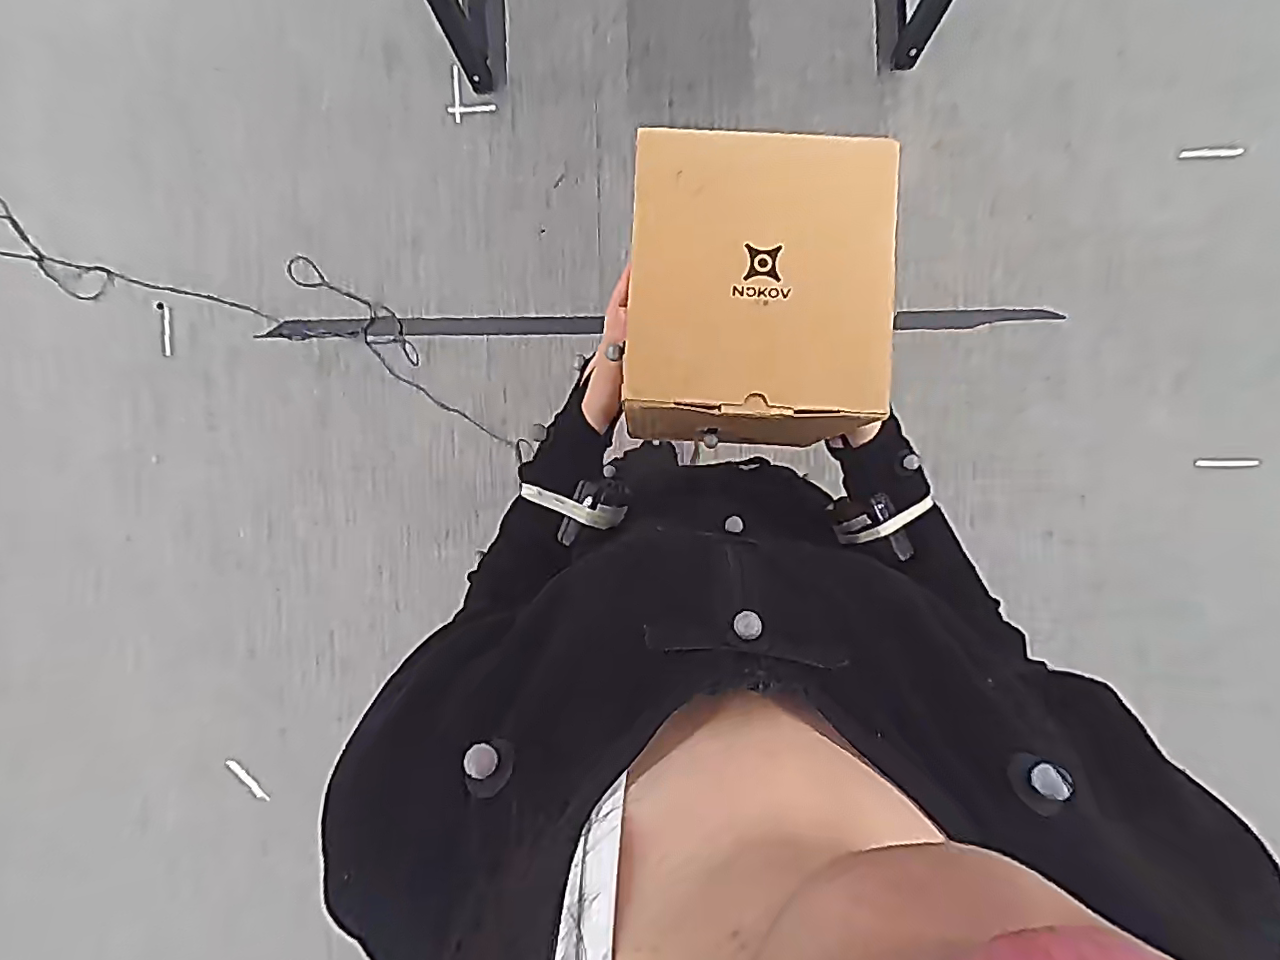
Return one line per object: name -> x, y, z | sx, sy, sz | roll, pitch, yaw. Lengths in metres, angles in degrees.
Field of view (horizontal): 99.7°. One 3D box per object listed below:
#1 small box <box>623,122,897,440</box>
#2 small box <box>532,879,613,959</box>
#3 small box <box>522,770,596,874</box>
small box -> 0.073, -0.129, 0.413 | 0.168, 0.176, 0.179 | 3, 89, 0
small box -> -0.175, 1.211, 1.446 | 0.179, 0.176, 0.168 | -7, 92, 3
small box -> -0.210, 0.905, 1.440 | 0.168, 0.176, 0.179 | -2, 90, 2
